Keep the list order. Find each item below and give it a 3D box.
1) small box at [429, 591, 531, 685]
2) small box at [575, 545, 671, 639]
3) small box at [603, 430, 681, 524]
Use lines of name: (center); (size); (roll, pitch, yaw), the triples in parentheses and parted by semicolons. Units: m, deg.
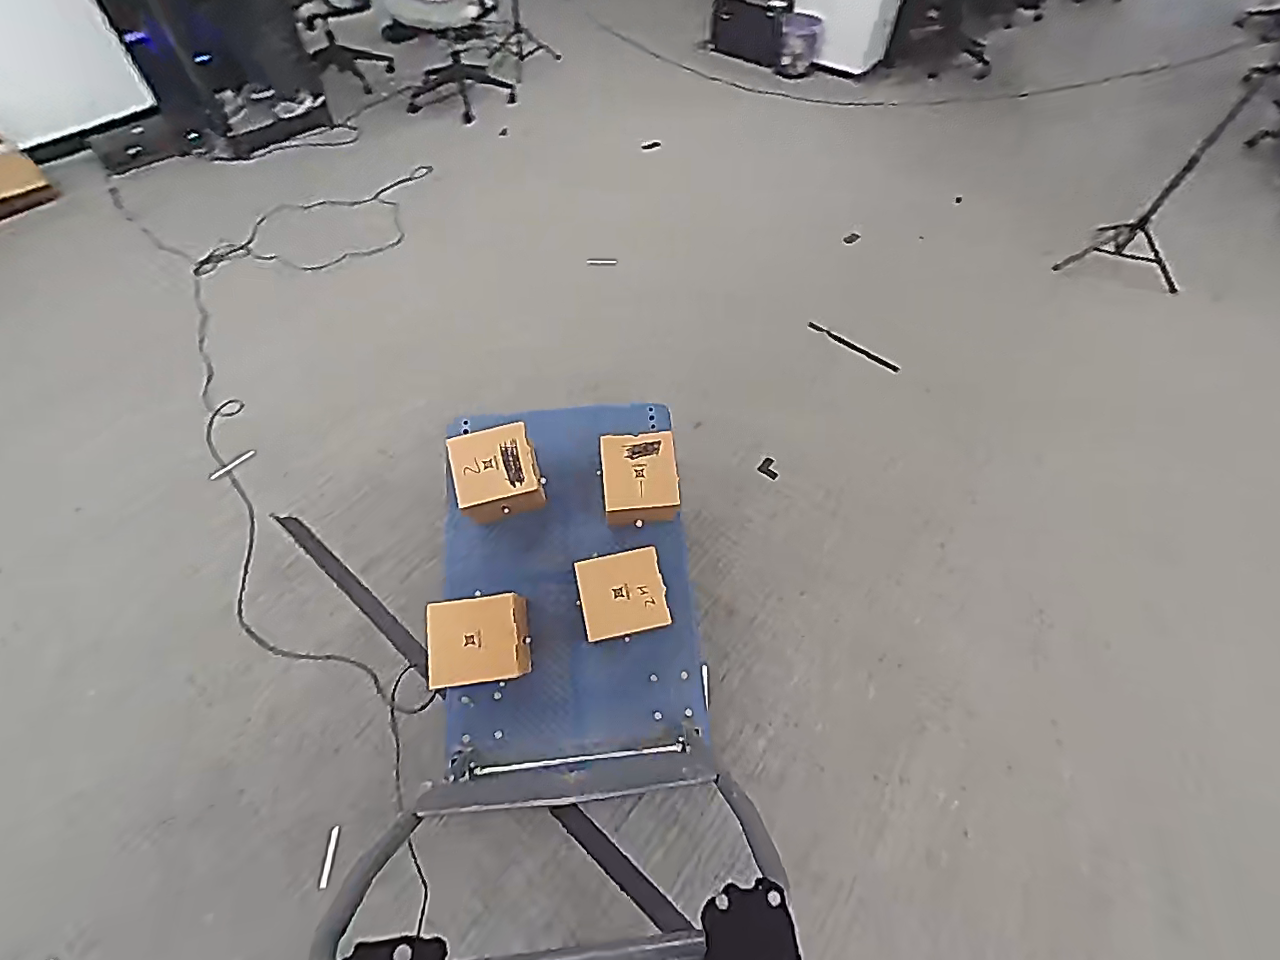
small box: (-0.336, 0.338, 1.155); (0.179, 0.176, 0.168); (-7, 74, -6)
small box: (-0.038, 0.252, 1.194); (0.179, 0.176, 0.168); (-11, 75, -6)
small box: (-0.001, -0.003, 1.272); (0.168, 0.176, 0.179); (-5, 75, -4)
